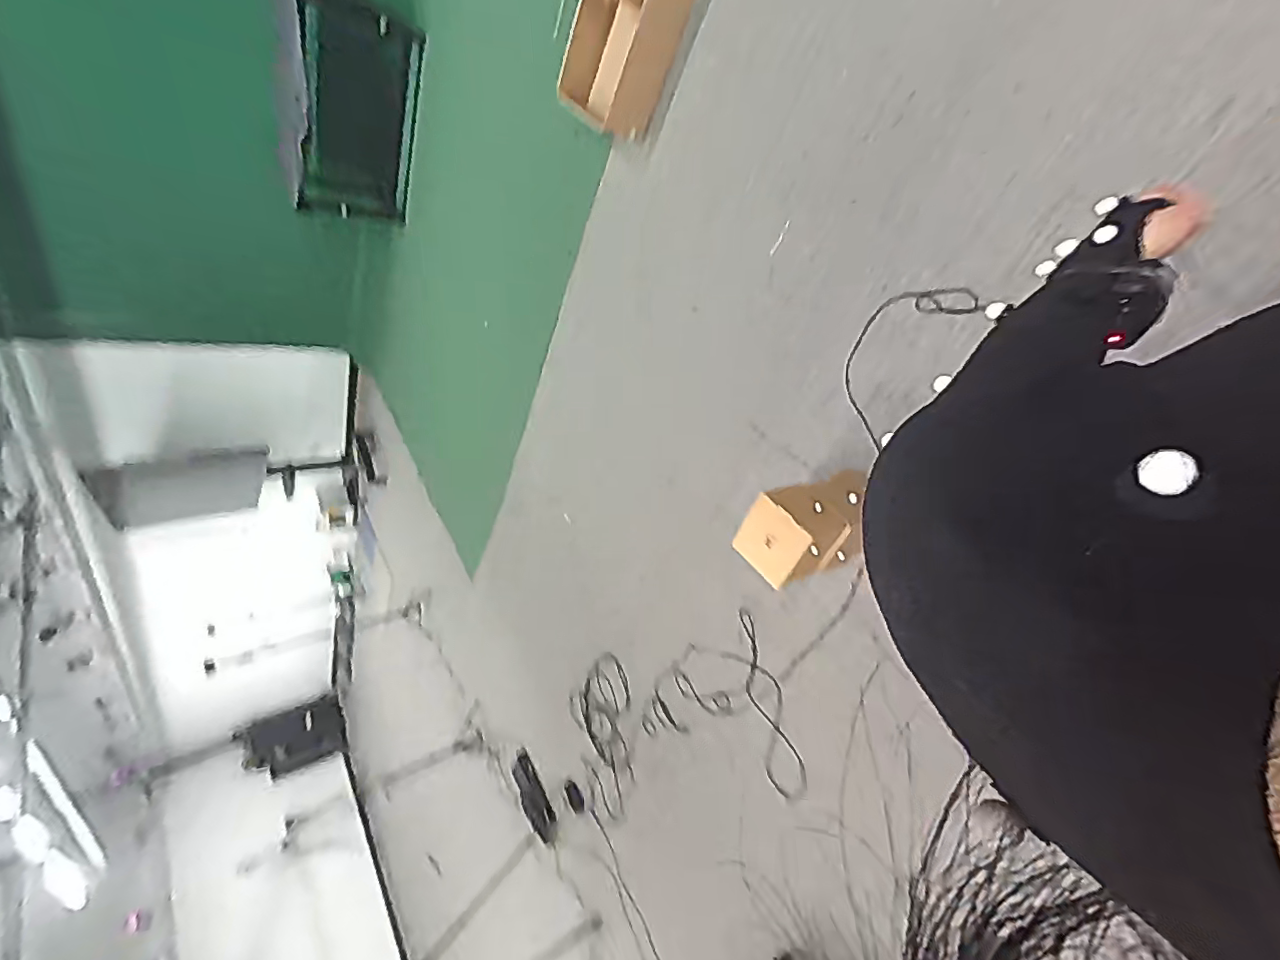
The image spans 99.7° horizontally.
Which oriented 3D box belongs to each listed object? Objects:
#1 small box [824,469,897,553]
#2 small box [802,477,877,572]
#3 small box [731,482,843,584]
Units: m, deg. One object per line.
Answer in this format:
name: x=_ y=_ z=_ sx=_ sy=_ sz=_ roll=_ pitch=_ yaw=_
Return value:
small box: x=0.601 y=0.084 z=1.548 sx=0.168 sy=0.176 sz=0.179 roll=45 pitch=129 yaw=36
small box: x=0.489 y=0.113 z=1.432 sx=0.168 sy=0.176 sz=0.179 roll=48 pitch=129 yaw=33
small box: x=0.364 y=0.125 z=1.328 sx=0.168 sy=0.176 sz=0.179 roll=47 pitch=129 yaw=34
